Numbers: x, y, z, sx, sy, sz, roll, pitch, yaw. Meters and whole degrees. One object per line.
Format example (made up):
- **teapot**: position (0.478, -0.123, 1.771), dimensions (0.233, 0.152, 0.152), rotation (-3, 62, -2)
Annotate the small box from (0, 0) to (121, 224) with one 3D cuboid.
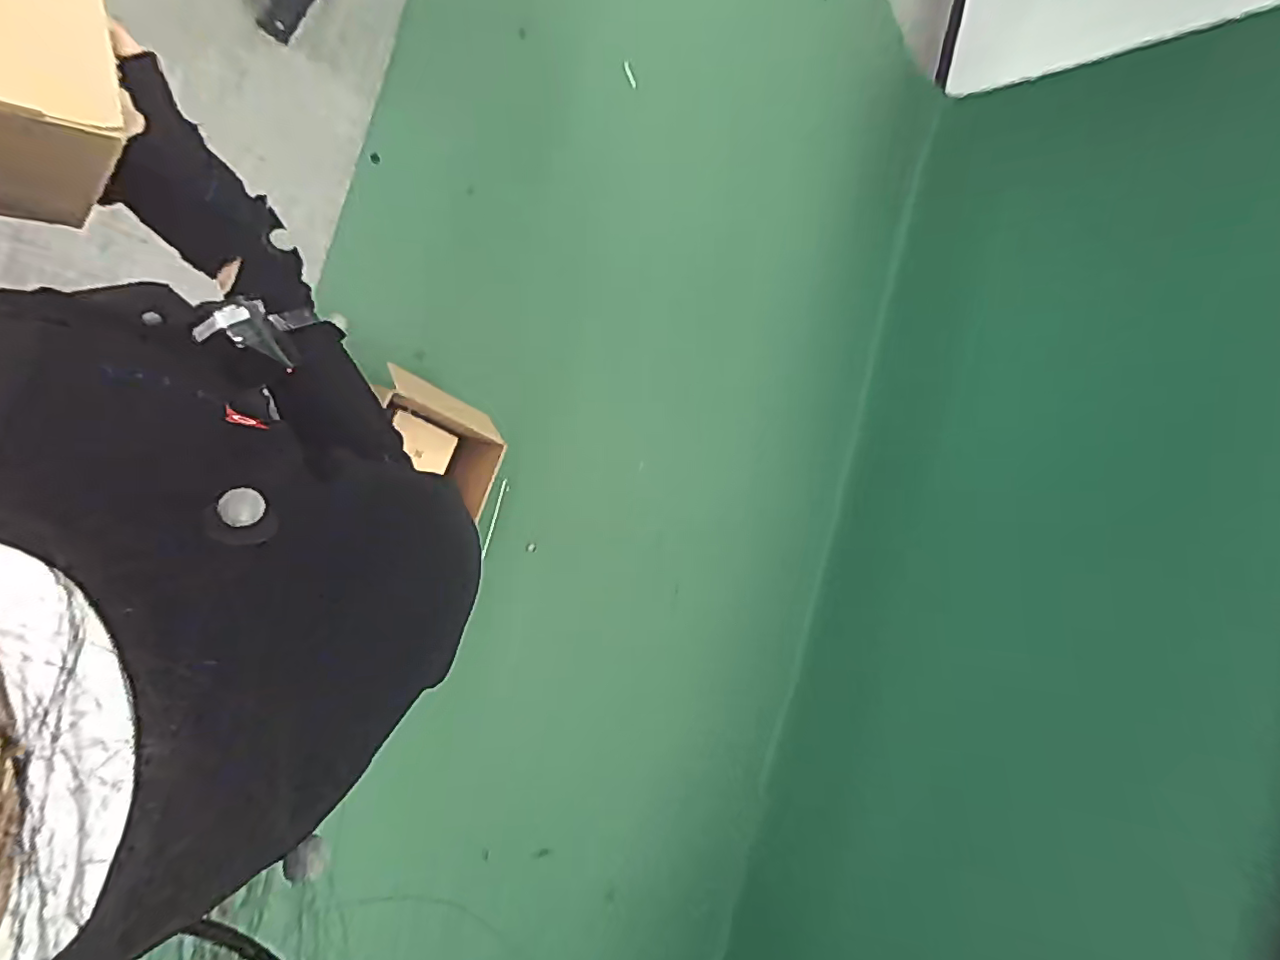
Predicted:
- **small box**: position (-0.402, -0.257, 0.271), dimensions (0.168, 0.176, 0.179), rotation (-14, 101, -50)
